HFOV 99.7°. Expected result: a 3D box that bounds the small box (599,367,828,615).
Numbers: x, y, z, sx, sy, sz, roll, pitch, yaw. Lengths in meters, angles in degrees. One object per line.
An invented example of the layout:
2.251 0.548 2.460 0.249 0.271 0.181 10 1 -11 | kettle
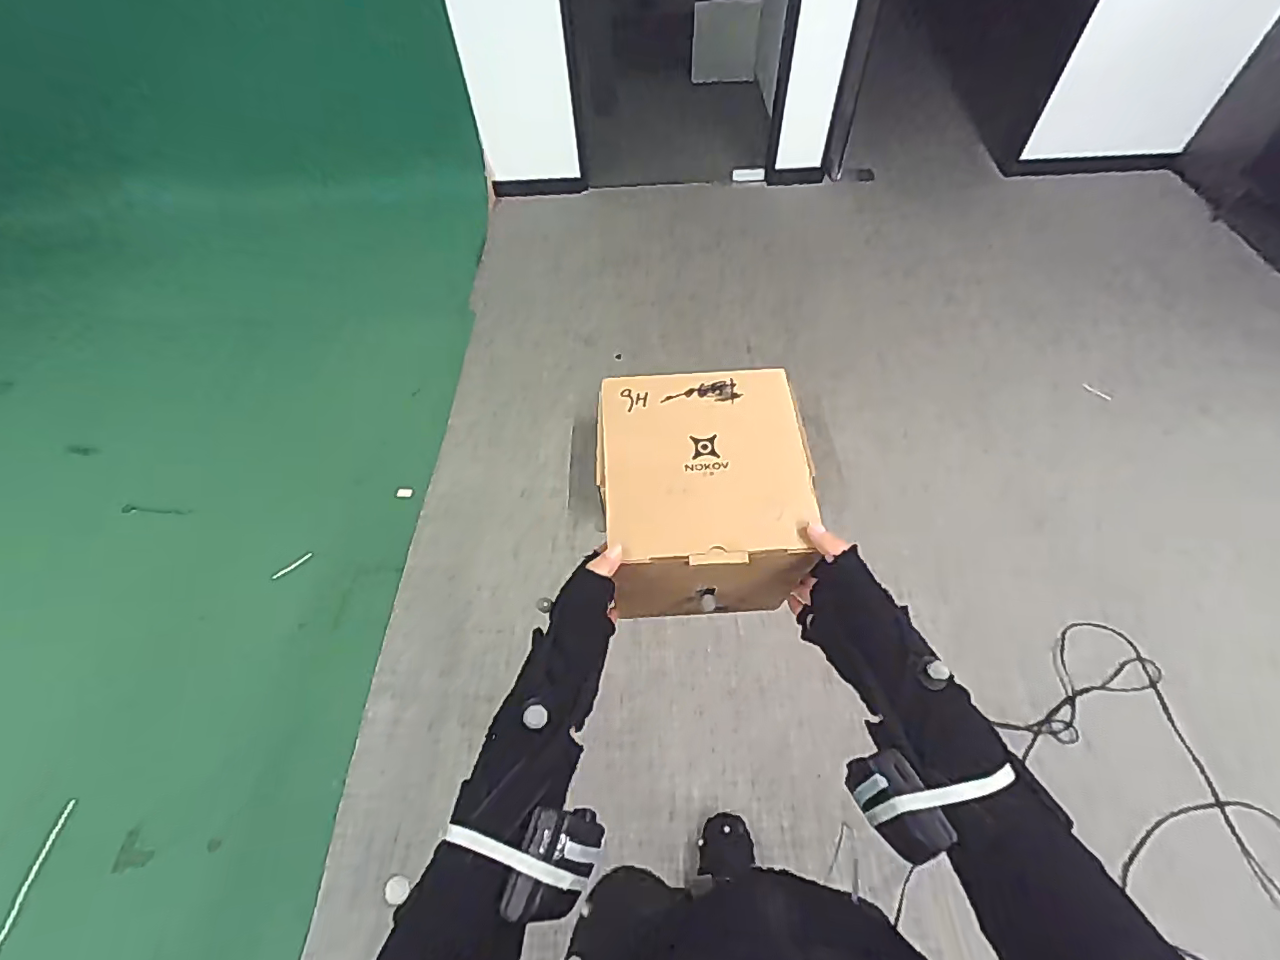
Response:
0.056 0.021 0.511 0.168 0.176 0.179 -7 61 -2 | small box
